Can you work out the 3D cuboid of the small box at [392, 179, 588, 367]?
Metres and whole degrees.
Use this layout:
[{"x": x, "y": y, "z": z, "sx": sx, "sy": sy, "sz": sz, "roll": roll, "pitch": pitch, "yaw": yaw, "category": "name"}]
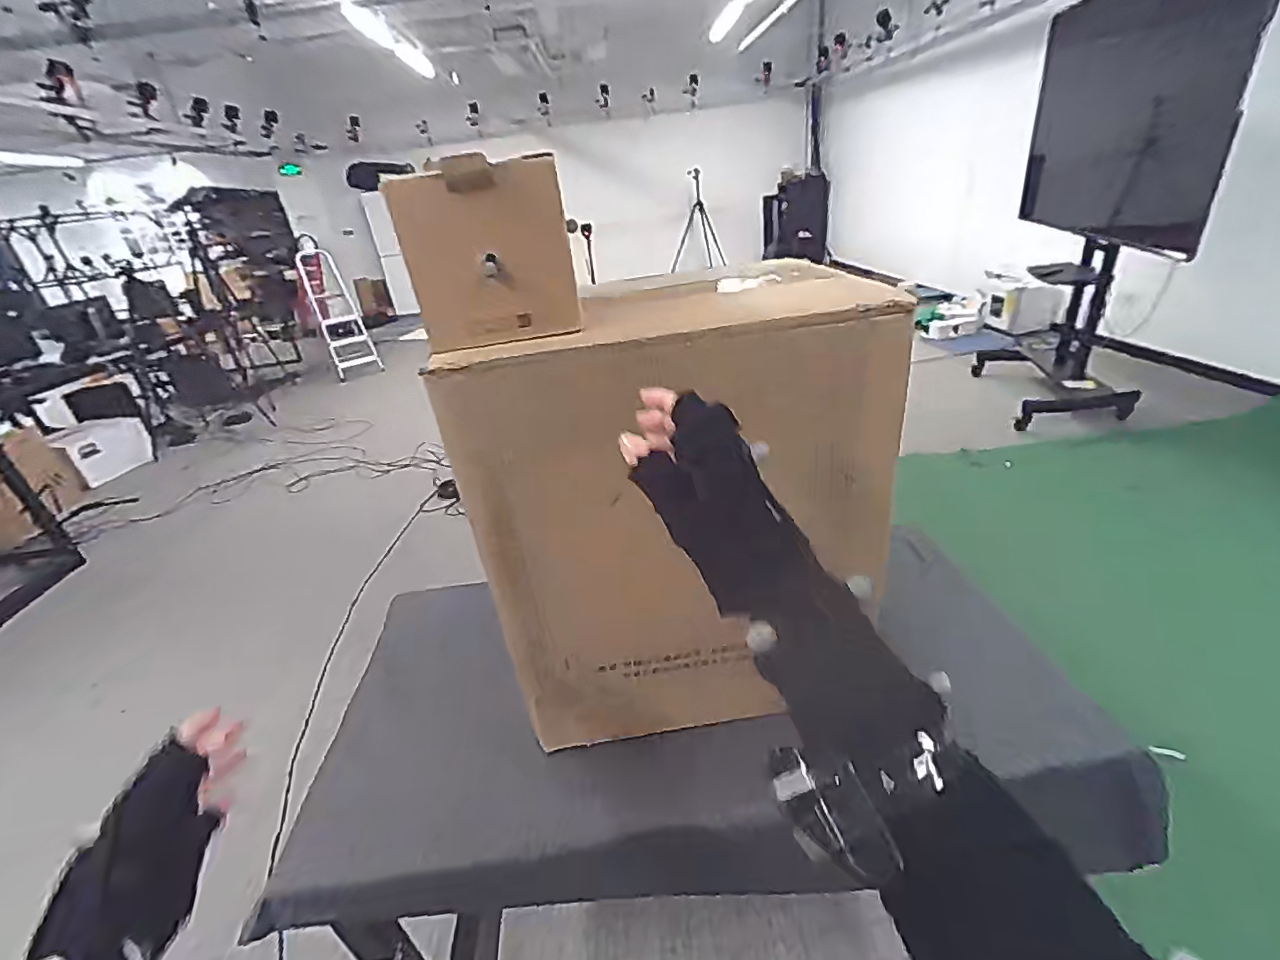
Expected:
[{"x": -0.160, "y": -0.240, "z": 0.630, "sx": 0.168, "sy": 0.176, "sz": 0.179, "roll": -12, "pitch": 30, "yaw": -5, "category": "small box"}]
